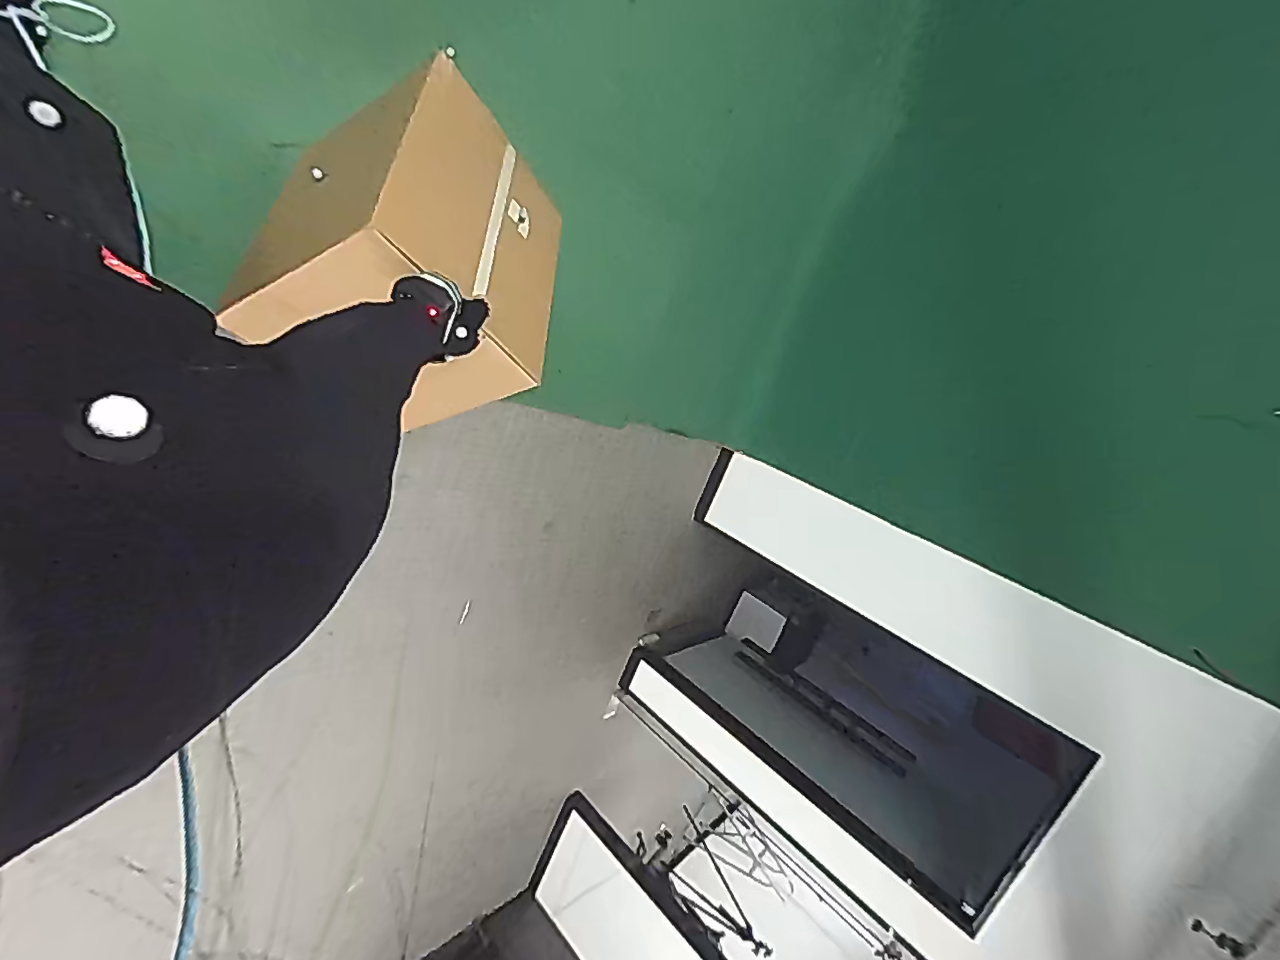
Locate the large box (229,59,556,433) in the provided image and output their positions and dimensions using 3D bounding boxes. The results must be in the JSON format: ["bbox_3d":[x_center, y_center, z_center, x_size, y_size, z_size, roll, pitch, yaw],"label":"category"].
[{"bbox_3d":[-0.361,-0.347,0.876,0.320,0.320,0.408,44,39,-51],"label":"large box"}]
